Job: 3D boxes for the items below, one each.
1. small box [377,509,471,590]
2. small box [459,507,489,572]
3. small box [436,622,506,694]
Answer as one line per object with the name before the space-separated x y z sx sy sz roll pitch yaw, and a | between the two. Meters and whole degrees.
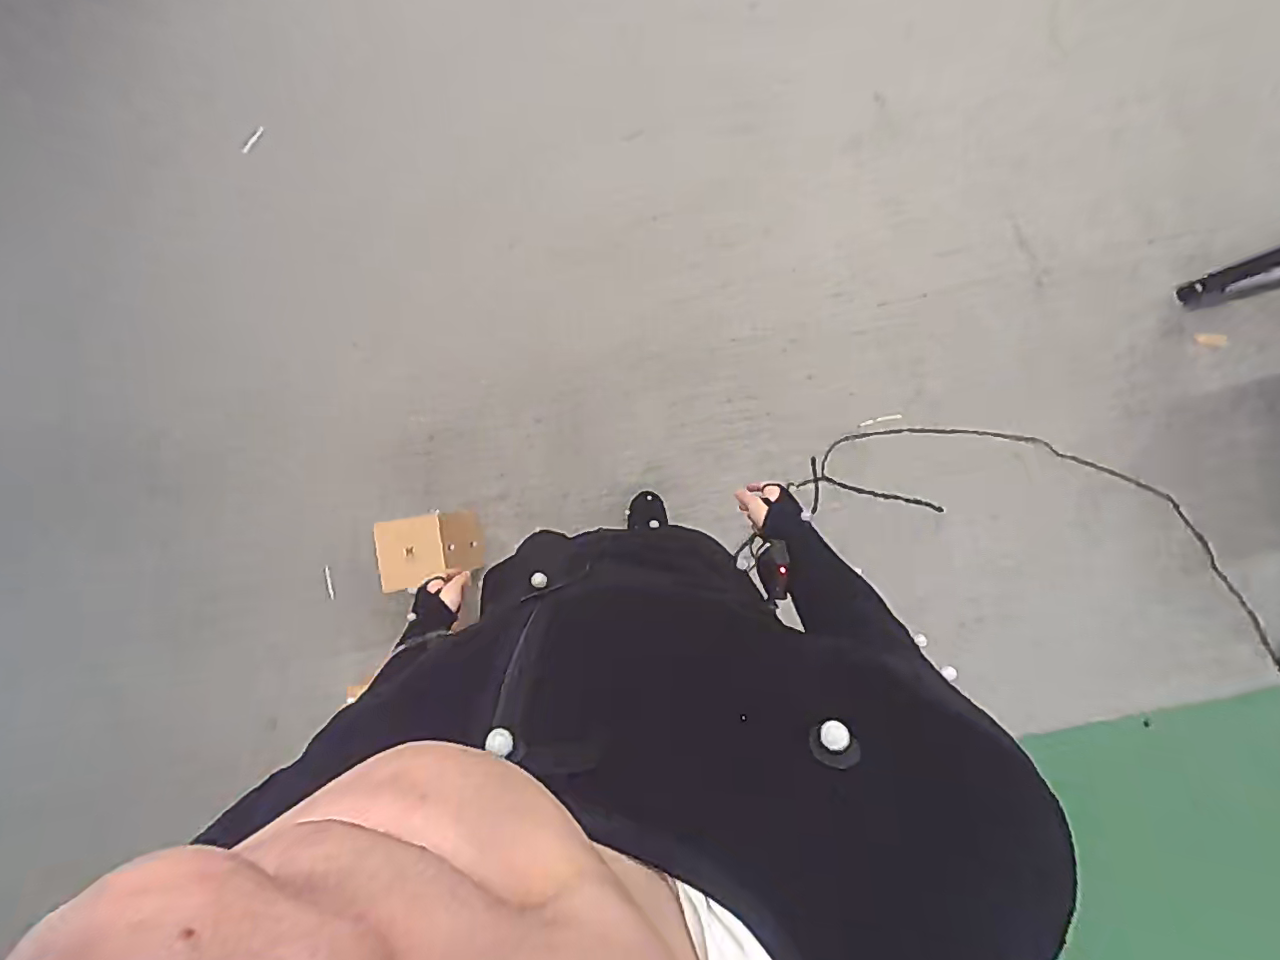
small box | -0.556 0.176 1.413 0.168 0.176 0.179 -9 88 2
small box | -0.557 0.182 1.578 0.168 0.176 0.179 -12 90 2
small box | -0.498 0.519 1.569 0.179 0.176 0.168 -9 89 3
